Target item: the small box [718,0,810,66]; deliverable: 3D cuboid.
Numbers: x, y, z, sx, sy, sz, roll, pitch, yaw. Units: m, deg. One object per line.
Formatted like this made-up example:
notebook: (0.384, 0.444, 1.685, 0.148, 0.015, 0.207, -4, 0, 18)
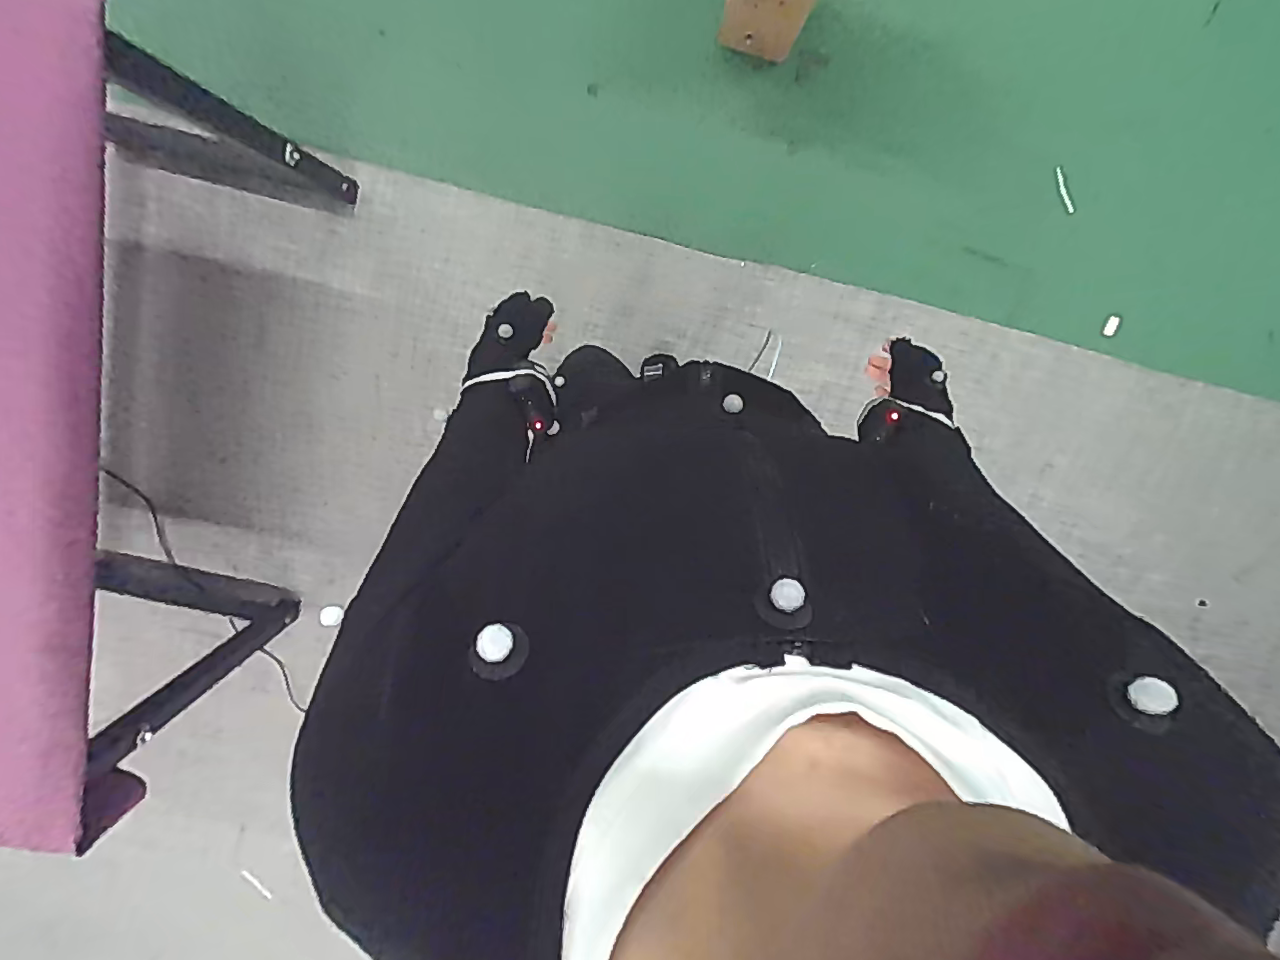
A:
small box: (0.278, -1.056, 1.172, 0.168, 0.176, 0.179, 13, 102, -4)
